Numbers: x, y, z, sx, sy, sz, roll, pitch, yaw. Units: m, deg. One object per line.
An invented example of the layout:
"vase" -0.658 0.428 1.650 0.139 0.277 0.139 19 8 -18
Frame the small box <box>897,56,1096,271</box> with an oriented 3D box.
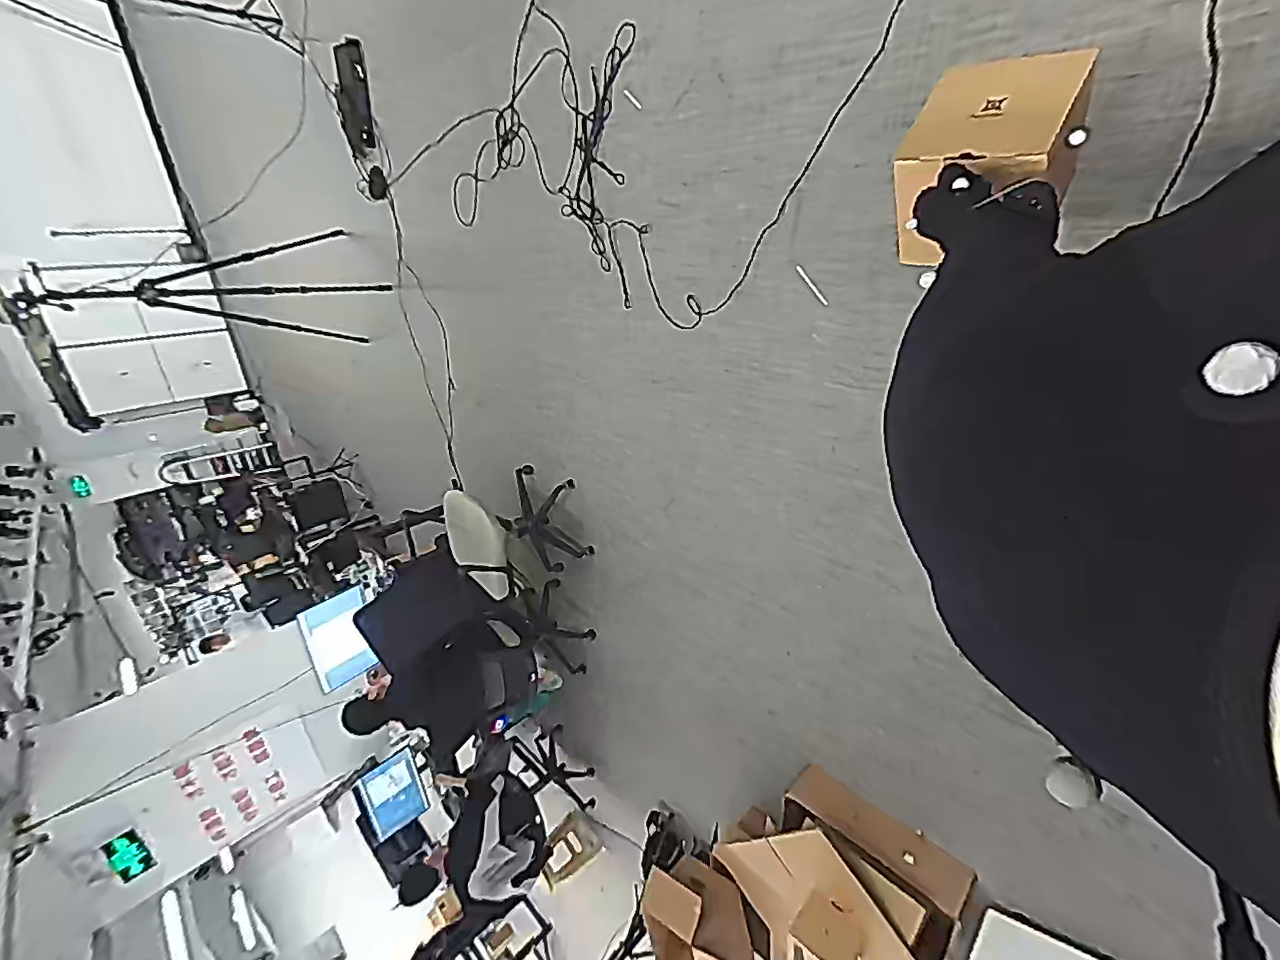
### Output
"small box" 0.462 -0.410 0.720 0.168 0.179 0.176 22 165 37
